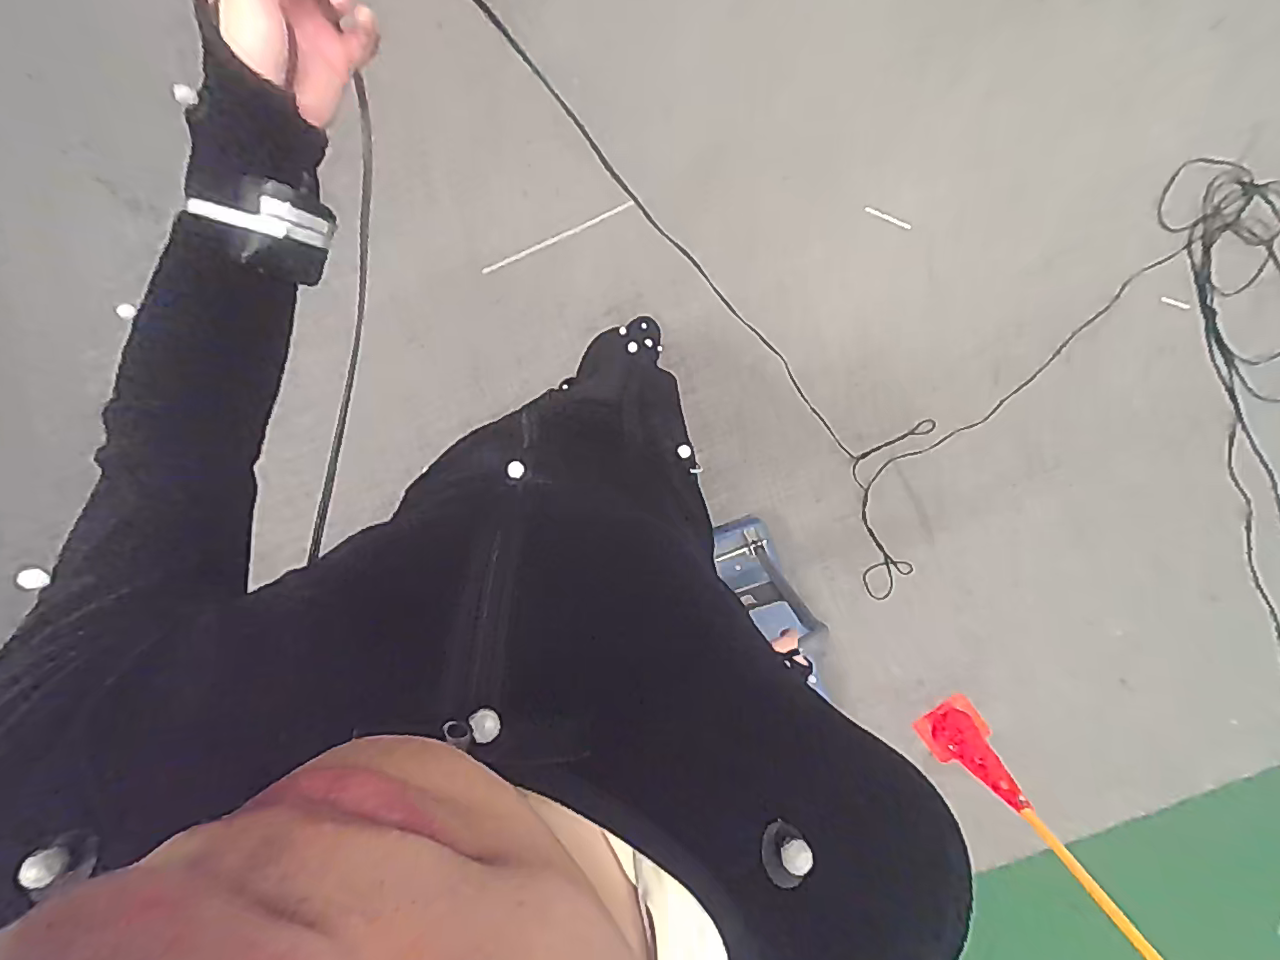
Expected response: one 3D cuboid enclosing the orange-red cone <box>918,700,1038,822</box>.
[{"bbox_3d":[1.051,0.874,1.630,0.199,0.360,0.198,-37,100,4],"label":"orange-red cone"}]
